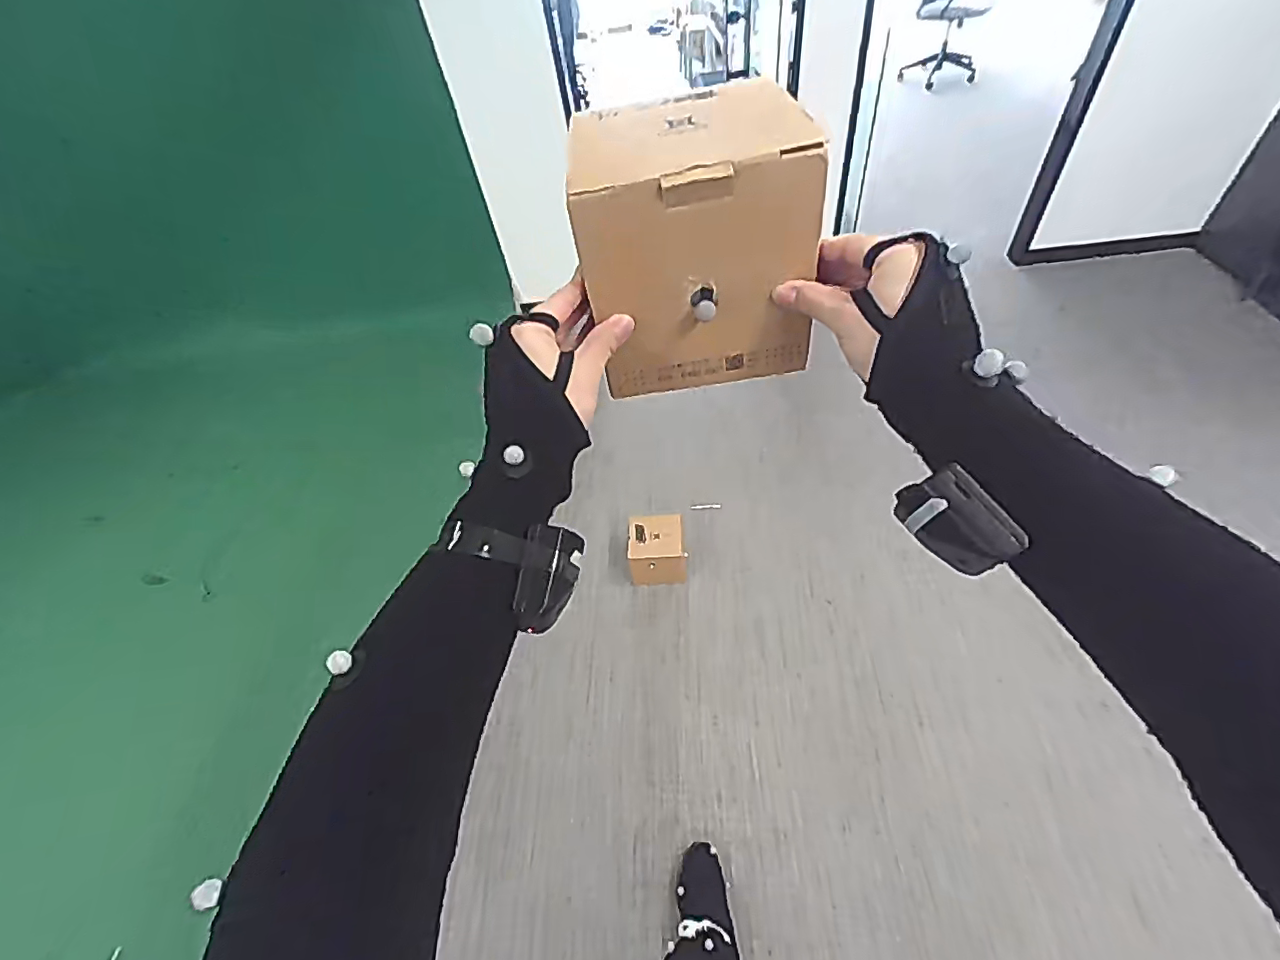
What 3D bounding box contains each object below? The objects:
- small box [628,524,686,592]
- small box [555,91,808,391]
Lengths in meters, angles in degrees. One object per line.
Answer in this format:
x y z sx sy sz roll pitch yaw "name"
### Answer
0.060 0.265 1.814 0.179 0.176 0.168 -4 49 5 "small box"
0.034 -0.189 0.451 0.168 0.176 0.179 -8 47 4 "small box"
